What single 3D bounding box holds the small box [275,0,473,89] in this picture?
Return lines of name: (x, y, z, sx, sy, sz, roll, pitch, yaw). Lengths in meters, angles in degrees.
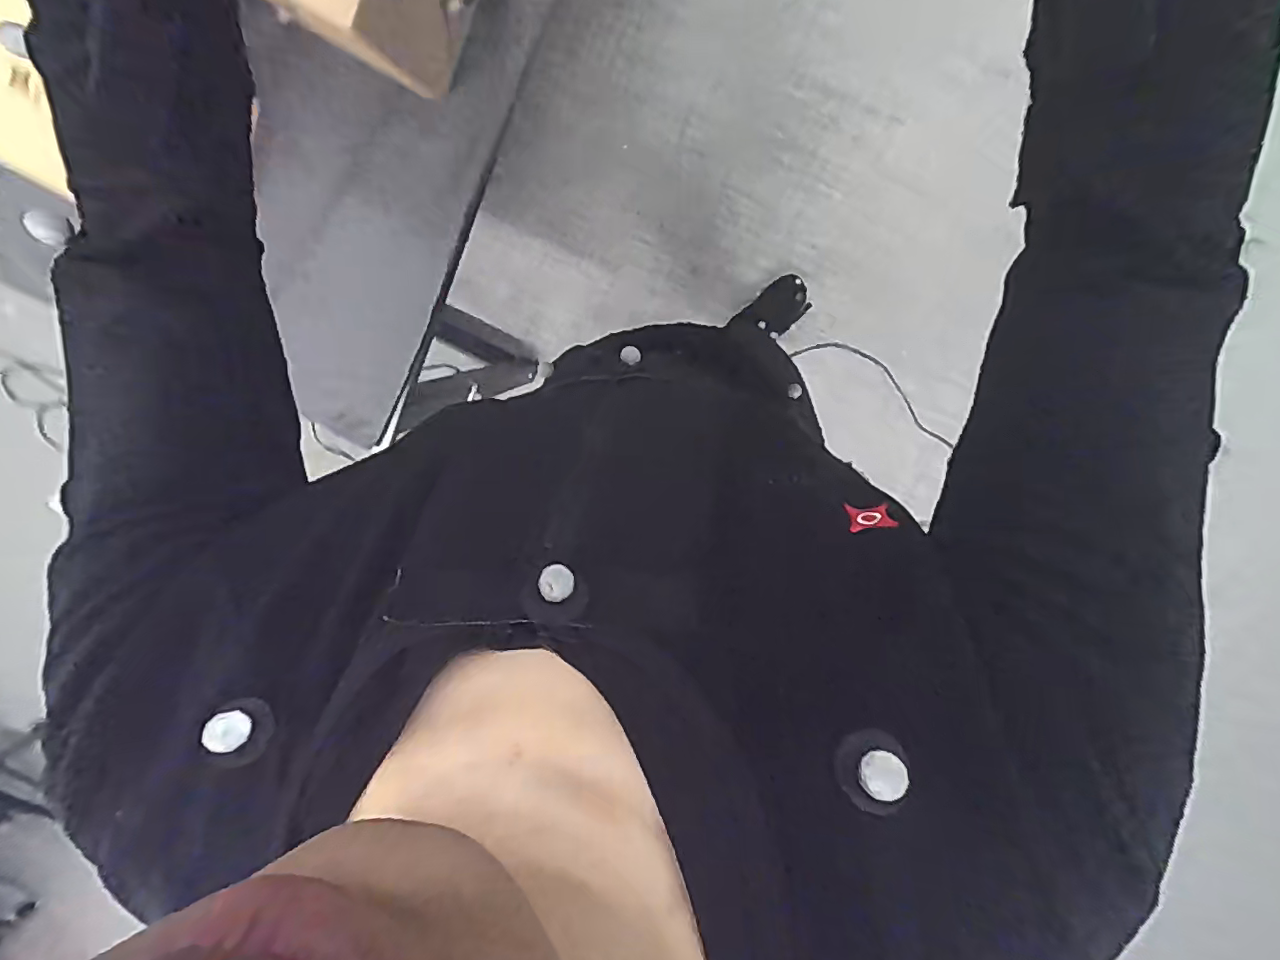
small box: (-0.280, -0.523, 0.518, 0.179, 0.176, 0.168, 29, 108, -2)
